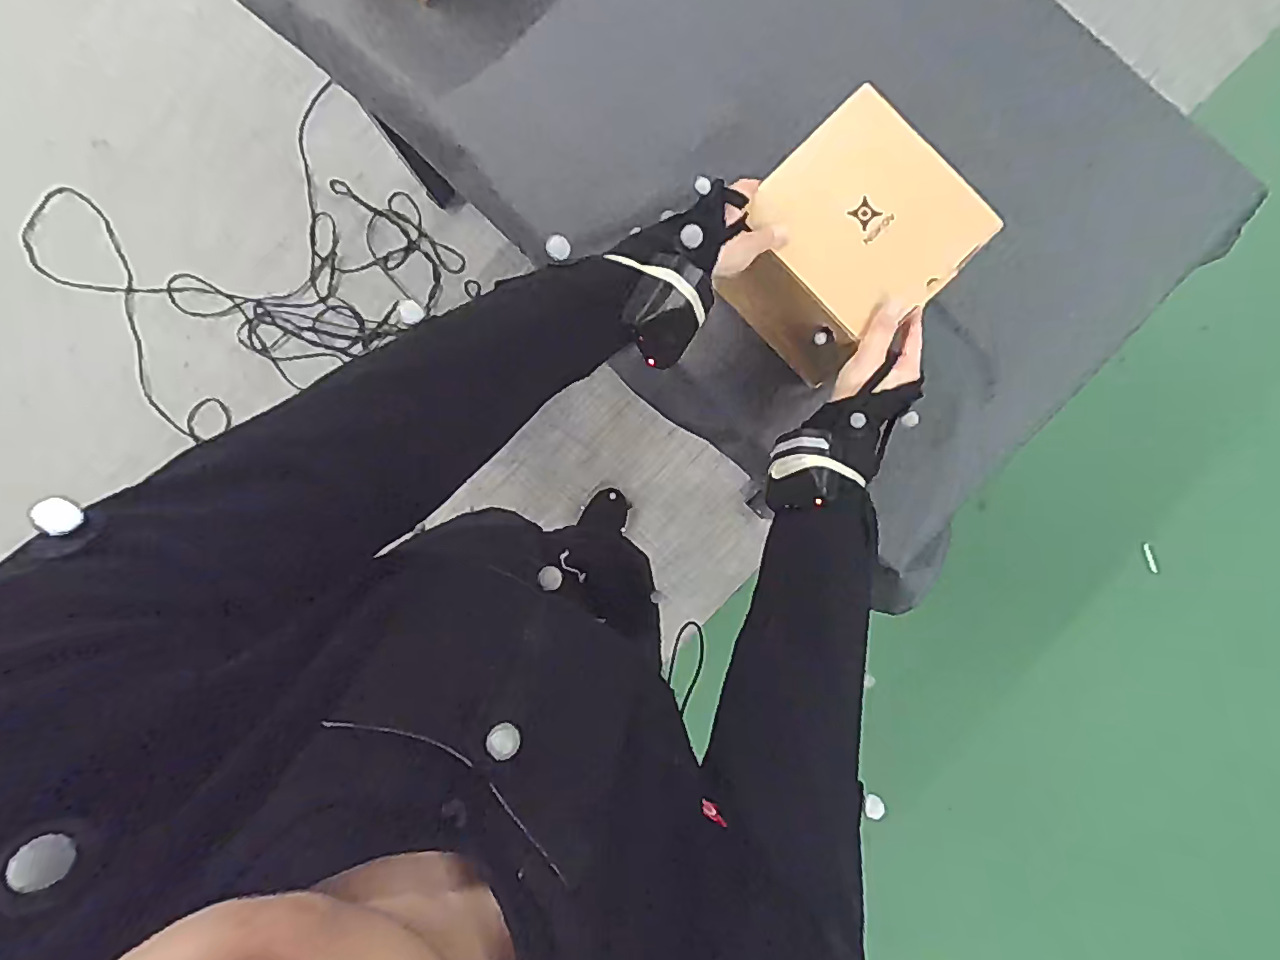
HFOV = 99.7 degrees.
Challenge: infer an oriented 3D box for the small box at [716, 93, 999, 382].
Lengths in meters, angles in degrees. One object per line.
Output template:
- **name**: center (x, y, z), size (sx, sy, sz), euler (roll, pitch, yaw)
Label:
- **small box**: center (0.198, -0.224, 0.552), size (0.168, 0.176, 0.179), euler (-44, 90, 0)
